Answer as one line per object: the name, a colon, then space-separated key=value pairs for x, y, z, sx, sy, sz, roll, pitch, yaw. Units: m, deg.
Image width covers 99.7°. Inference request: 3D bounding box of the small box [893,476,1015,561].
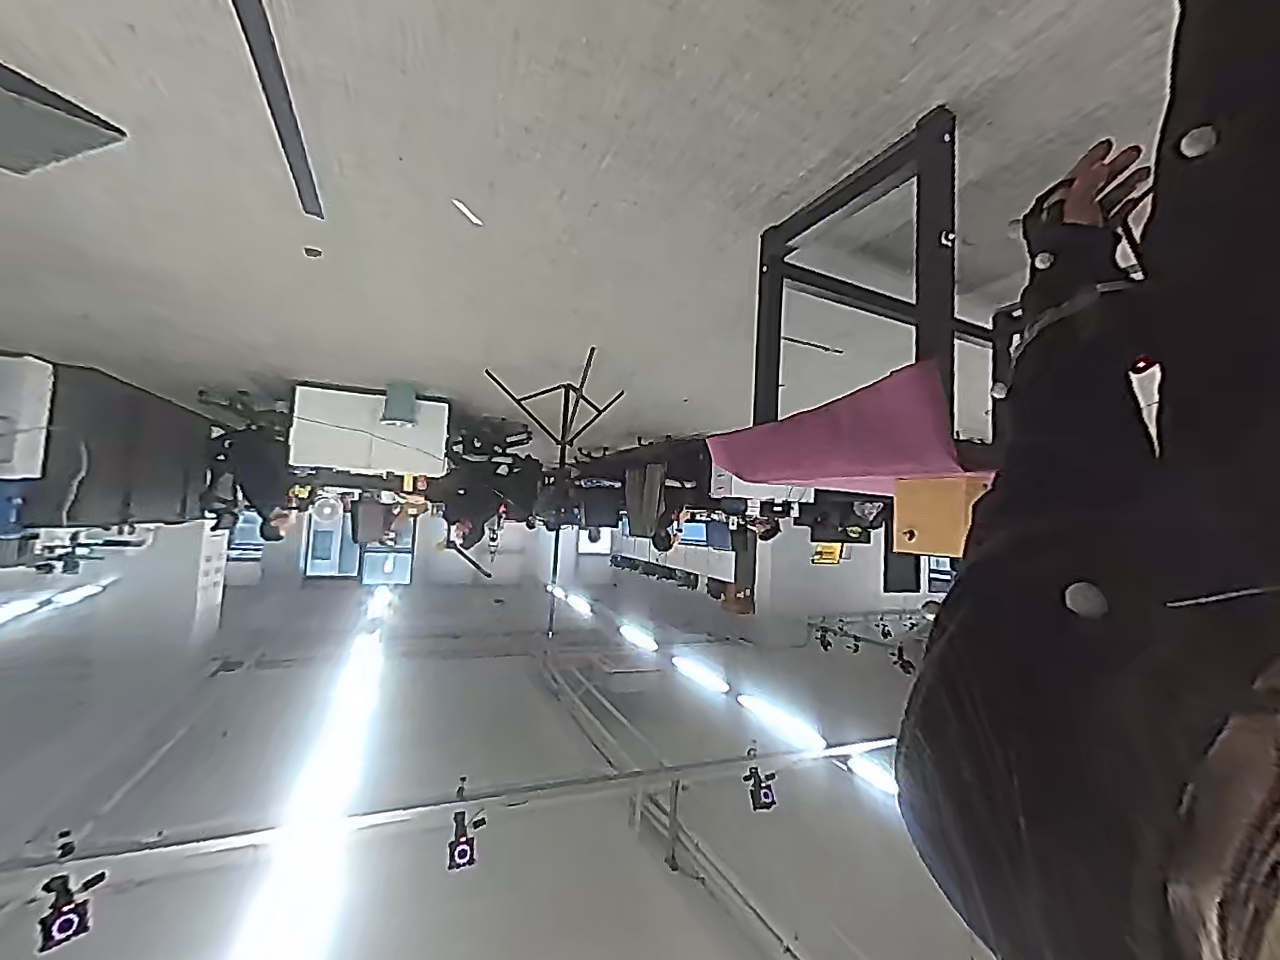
small box: x=0.683 y=0.084 z=1.178 sx=0.168 sy=0.176 sz=0.179 roll=3 pitch=176 yaw=-24
